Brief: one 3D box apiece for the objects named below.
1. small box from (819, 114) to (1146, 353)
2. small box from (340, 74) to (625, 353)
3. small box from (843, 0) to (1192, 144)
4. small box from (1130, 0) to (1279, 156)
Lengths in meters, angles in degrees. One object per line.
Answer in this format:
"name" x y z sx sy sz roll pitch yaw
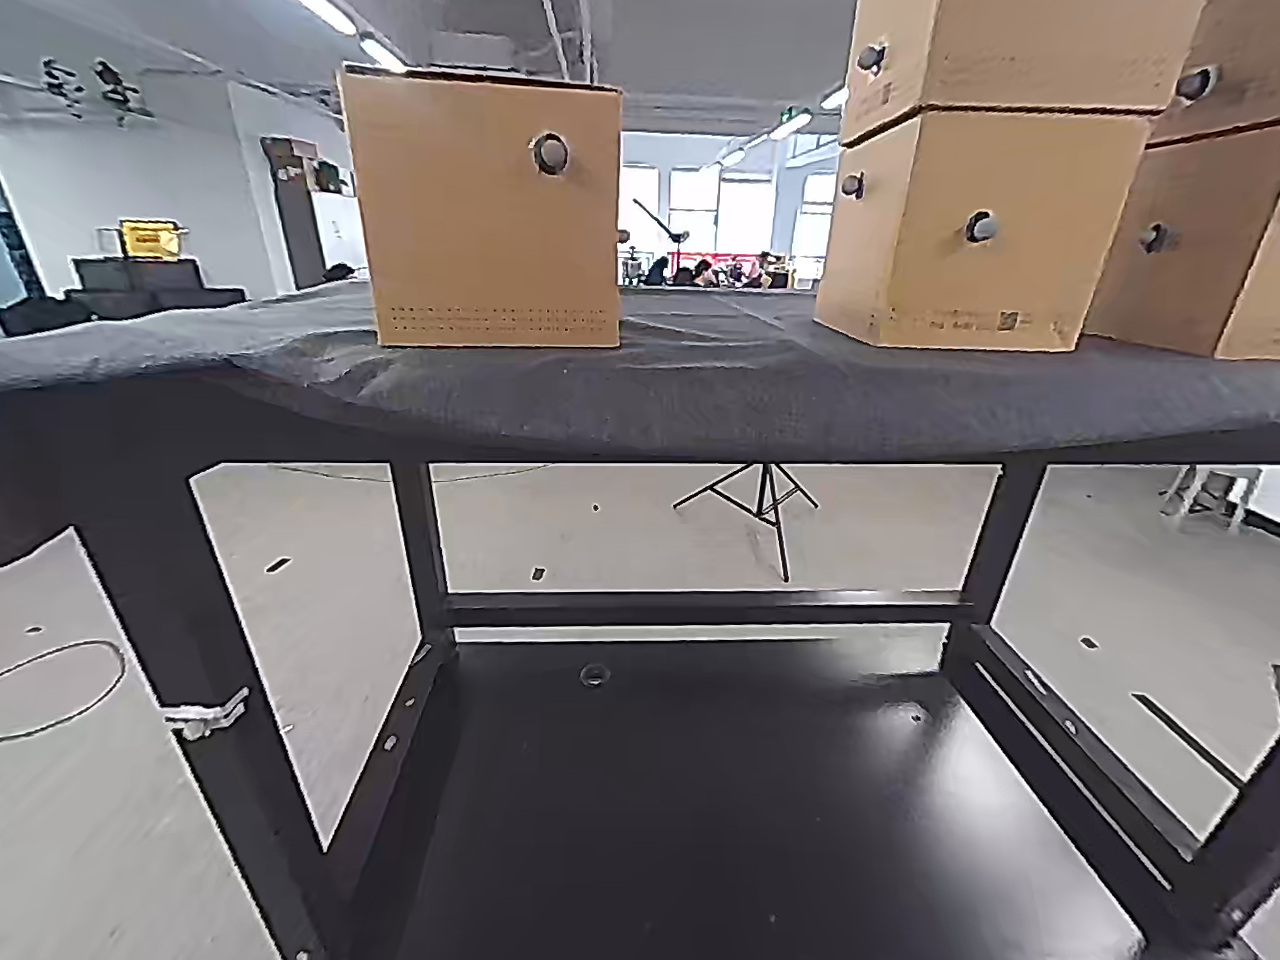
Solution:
"small box" 0.273 -0.211 0.484 0.168 0.176 0.179 1 23 0
"small box" -0.108 -0.202 0.441 0.179 0.176 0.168 -2 23 -7
"small box" 0.275 -0.358 0.409 0.179 0.176 0.168 0 22 1
"small box" 0.536 -0.352 0.409 0.179 0.176 0.168 -1 22 -2
